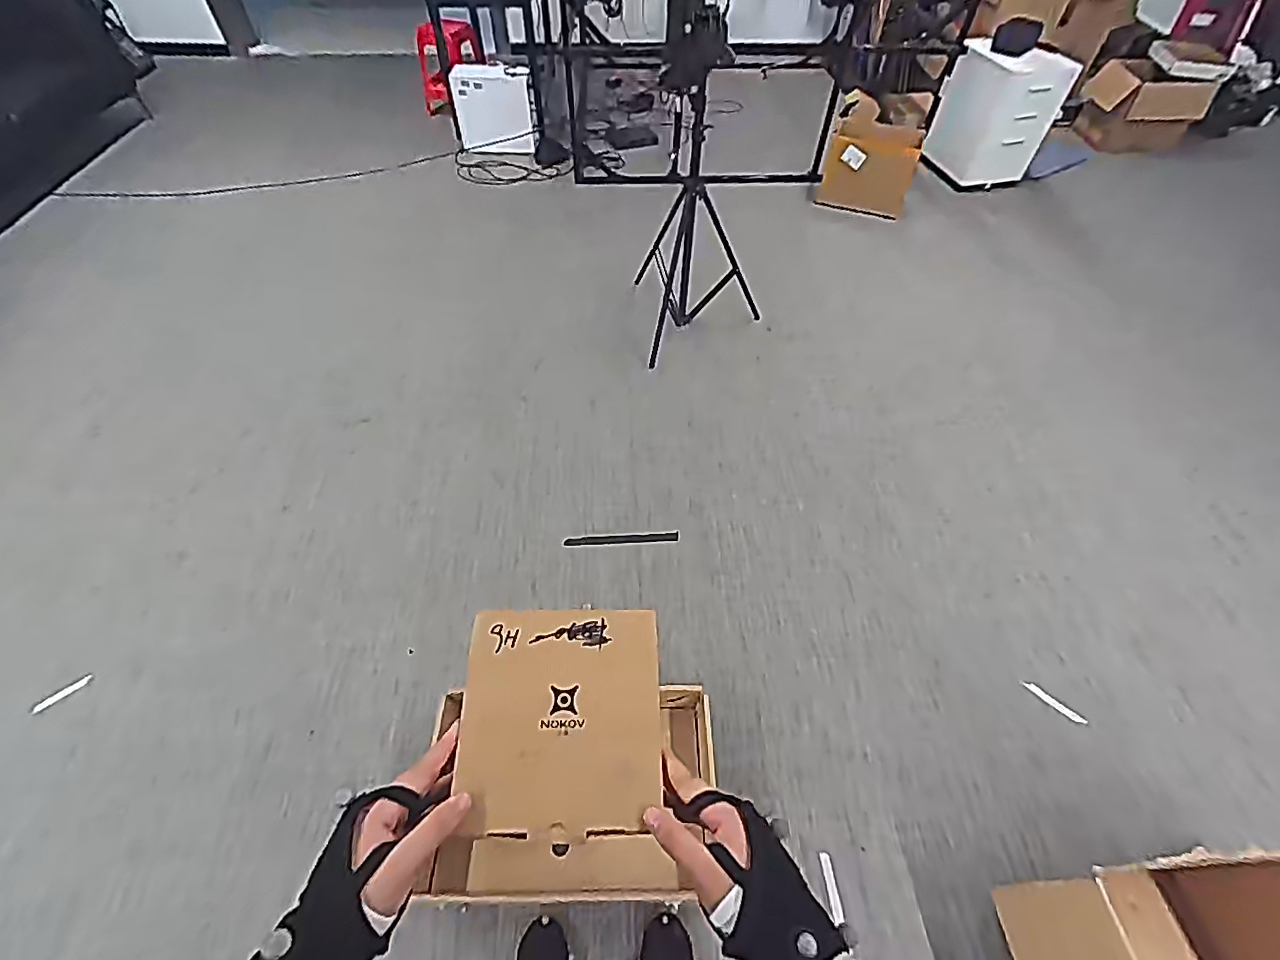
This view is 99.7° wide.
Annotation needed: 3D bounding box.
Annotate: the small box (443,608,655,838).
[{"bbox_3d":[-0.074,0.233,0.520,0.168,0.176,0.179,1,59,-4],"label":"small box"}]
